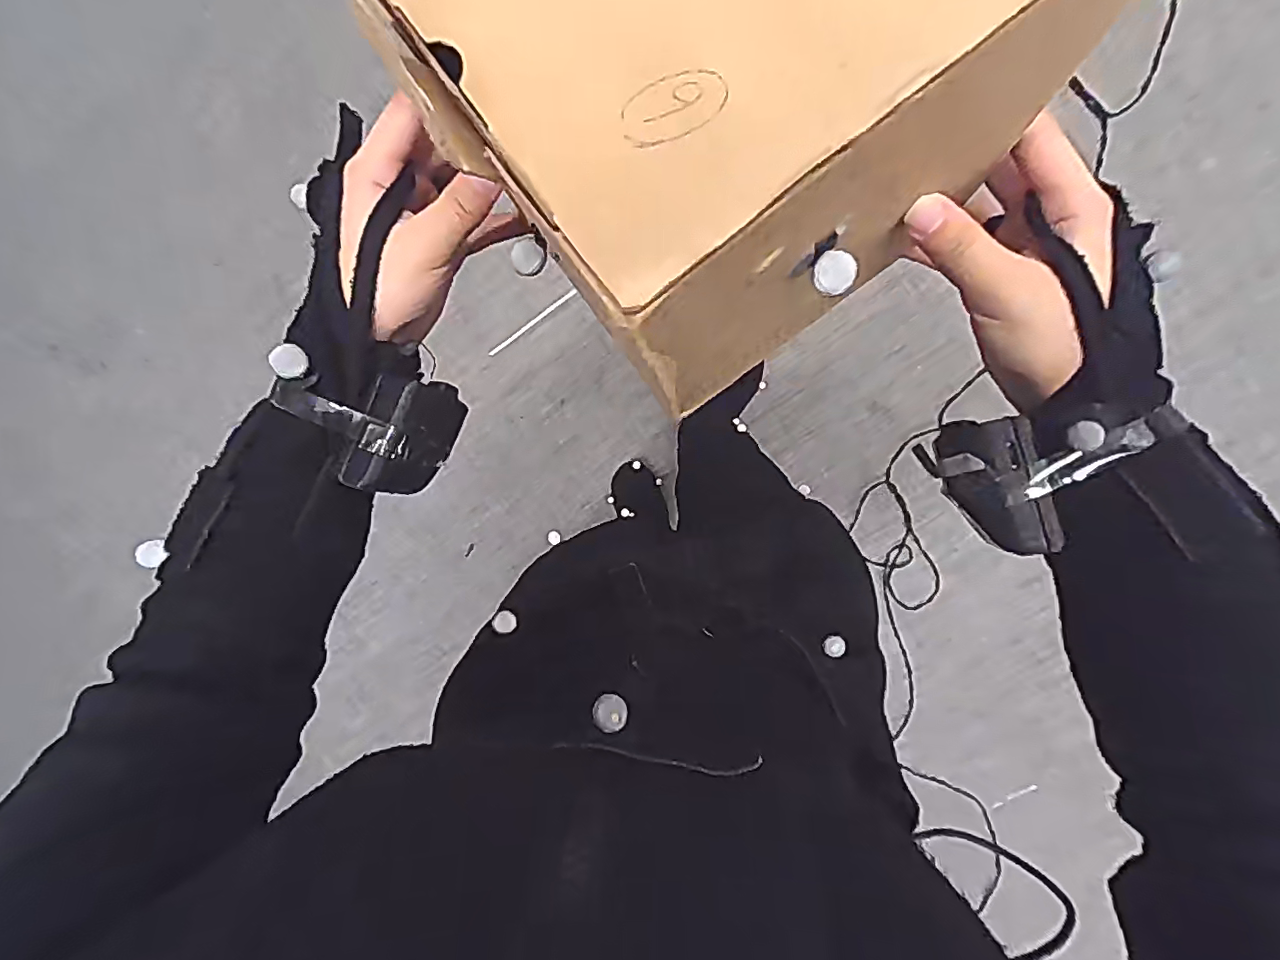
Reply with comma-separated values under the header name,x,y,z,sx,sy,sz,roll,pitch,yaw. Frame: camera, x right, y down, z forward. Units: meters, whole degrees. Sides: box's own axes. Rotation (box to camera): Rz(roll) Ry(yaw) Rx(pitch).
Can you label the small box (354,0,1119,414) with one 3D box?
name,x,y,z,sx,sy,sz,roll,pitch,yaw
small box,0.032,-0.146,0.217,0.179,0.176,0.168,-37,83,7
